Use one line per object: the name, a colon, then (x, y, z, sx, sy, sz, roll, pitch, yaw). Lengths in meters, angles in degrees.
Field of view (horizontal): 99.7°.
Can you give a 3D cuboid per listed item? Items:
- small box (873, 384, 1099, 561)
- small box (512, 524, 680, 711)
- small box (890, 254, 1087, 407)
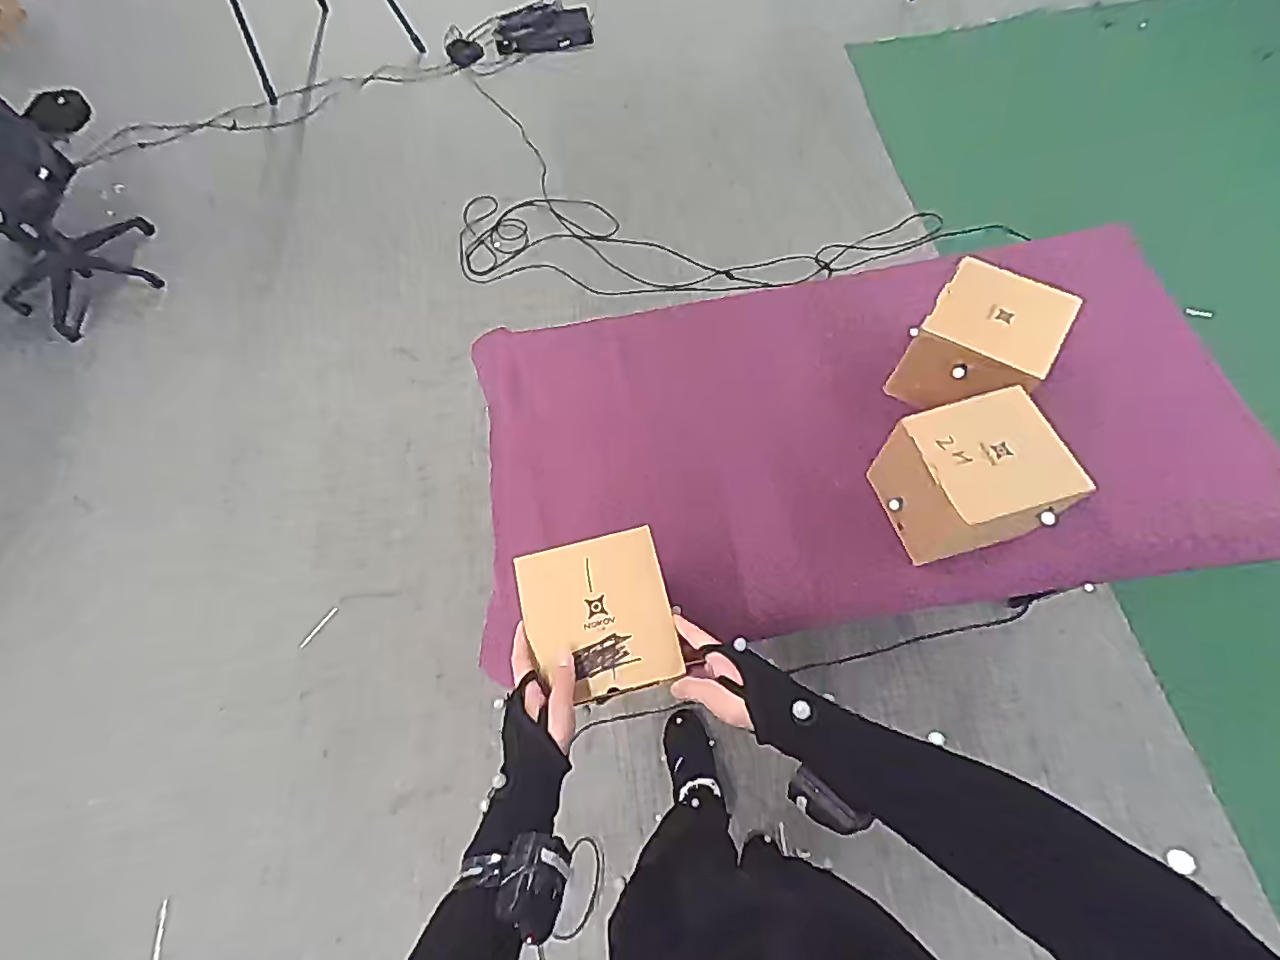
small box: (0.461, -0.003, 0.756, 0.179, 0.176, 0.168, -16, 64, -1)
small box: (-0.047, 0.174, 0.676, 0.168, 0.176, 0.179, -14, 69, -2)
small box: (0.529, -0.208, 0.845, 0.179, 0.176, 0.168, 31, 73, 18)
